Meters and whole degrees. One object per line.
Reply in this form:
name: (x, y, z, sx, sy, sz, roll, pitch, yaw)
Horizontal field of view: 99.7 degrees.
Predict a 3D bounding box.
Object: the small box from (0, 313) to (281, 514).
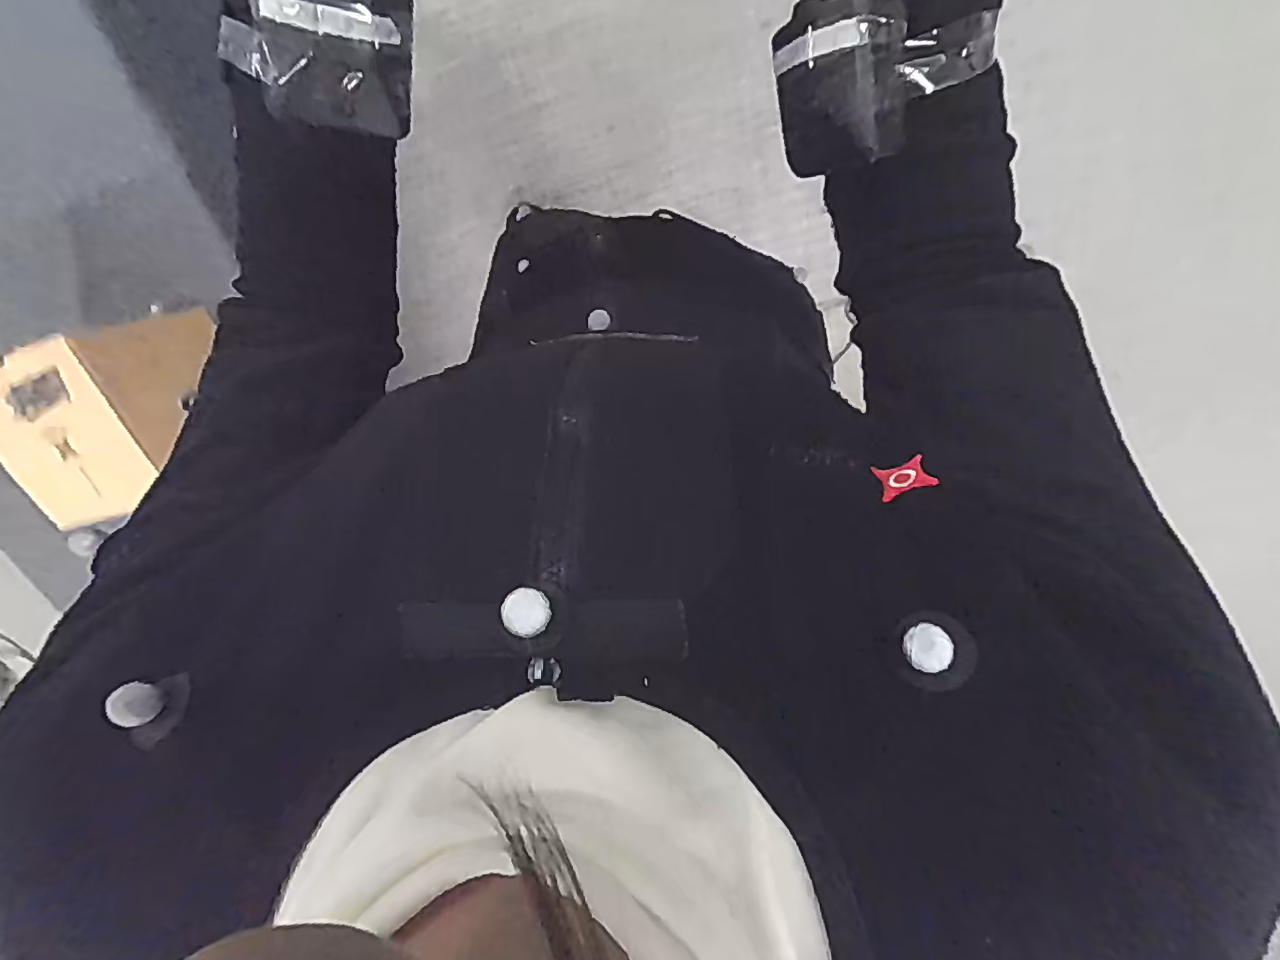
small box: (-0.570, -0.085, 0.620, 0.168, 0.176, 0.179, -8, 115, 12)
